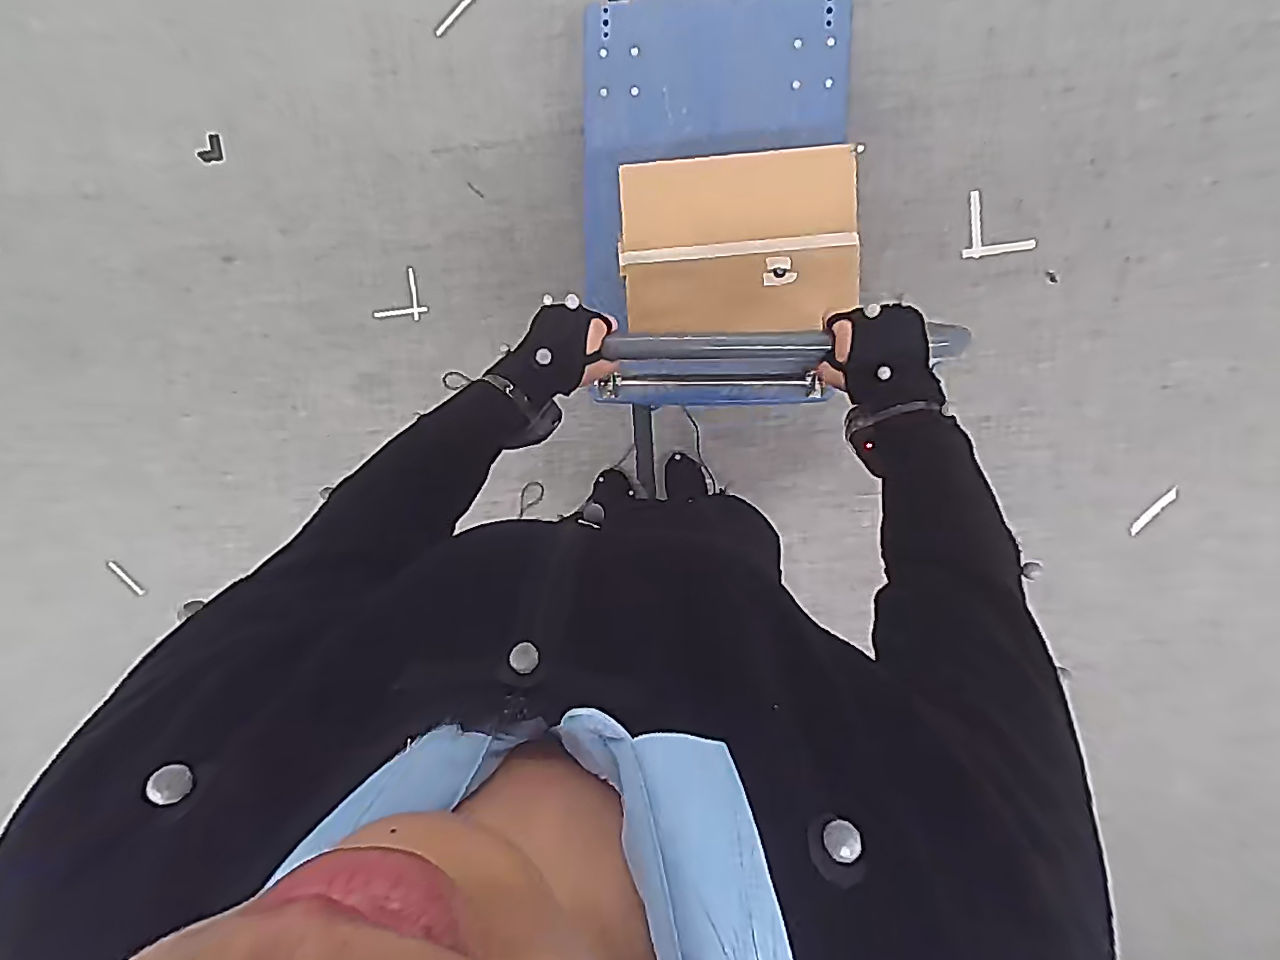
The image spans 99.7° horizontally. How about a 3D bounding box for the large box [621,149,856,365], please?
[{"bbox_3d":[0.182,-0.420,1.105,0.408,0.320,0.320,-4,97,3],"label":"large box"}]
